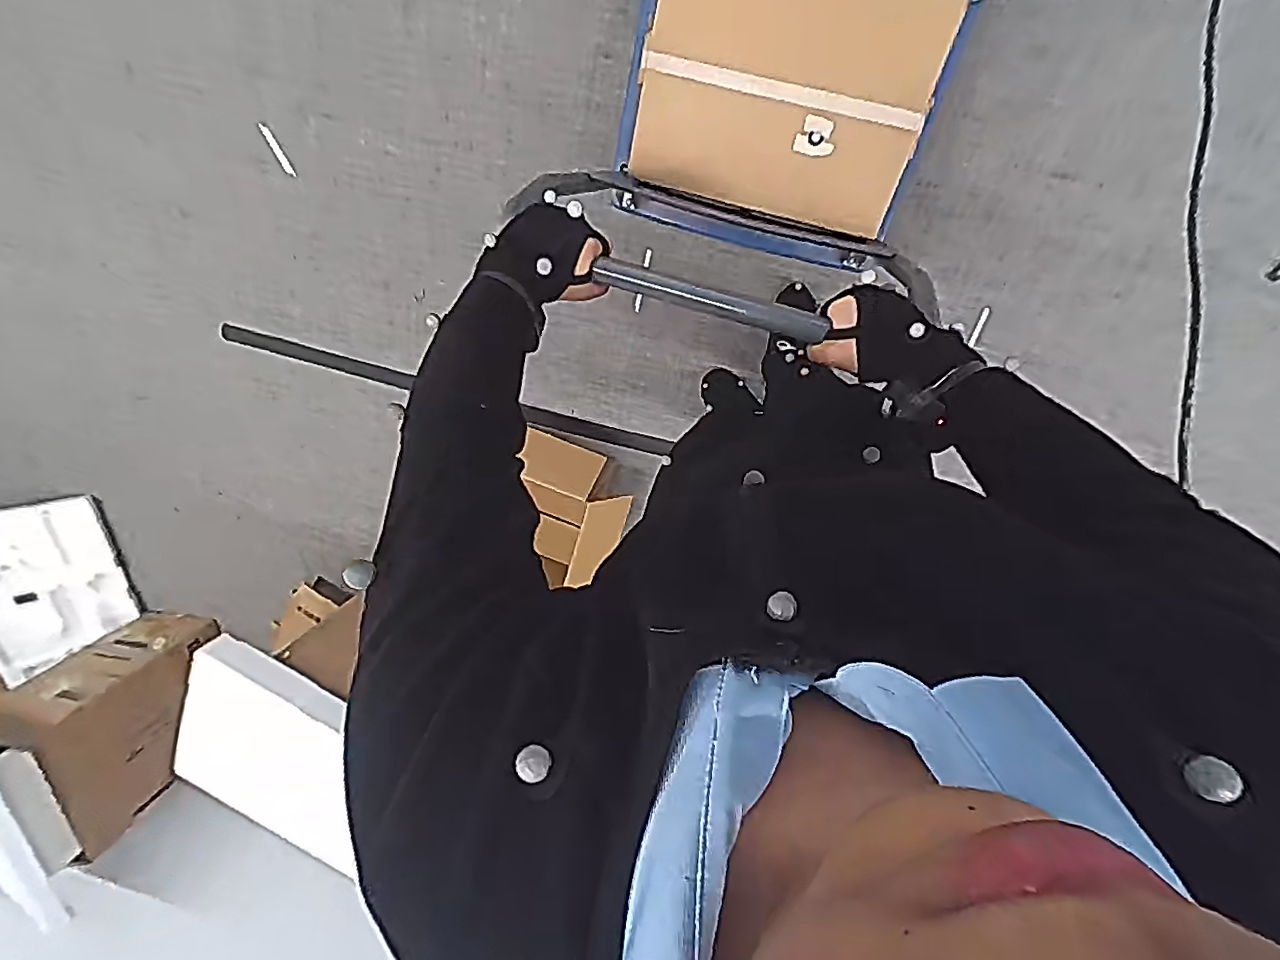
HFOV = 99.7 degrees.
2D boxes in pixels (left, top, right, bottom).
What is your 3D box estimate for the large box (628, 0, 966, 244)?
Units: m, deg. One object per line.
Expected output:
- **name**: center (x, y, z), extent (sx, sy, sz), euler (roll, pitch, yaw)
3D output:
- **large box**: center (0.225, -0.607, 0.906), extent (0.408, 0.320, 0.320), euler (16, 118, 4)
